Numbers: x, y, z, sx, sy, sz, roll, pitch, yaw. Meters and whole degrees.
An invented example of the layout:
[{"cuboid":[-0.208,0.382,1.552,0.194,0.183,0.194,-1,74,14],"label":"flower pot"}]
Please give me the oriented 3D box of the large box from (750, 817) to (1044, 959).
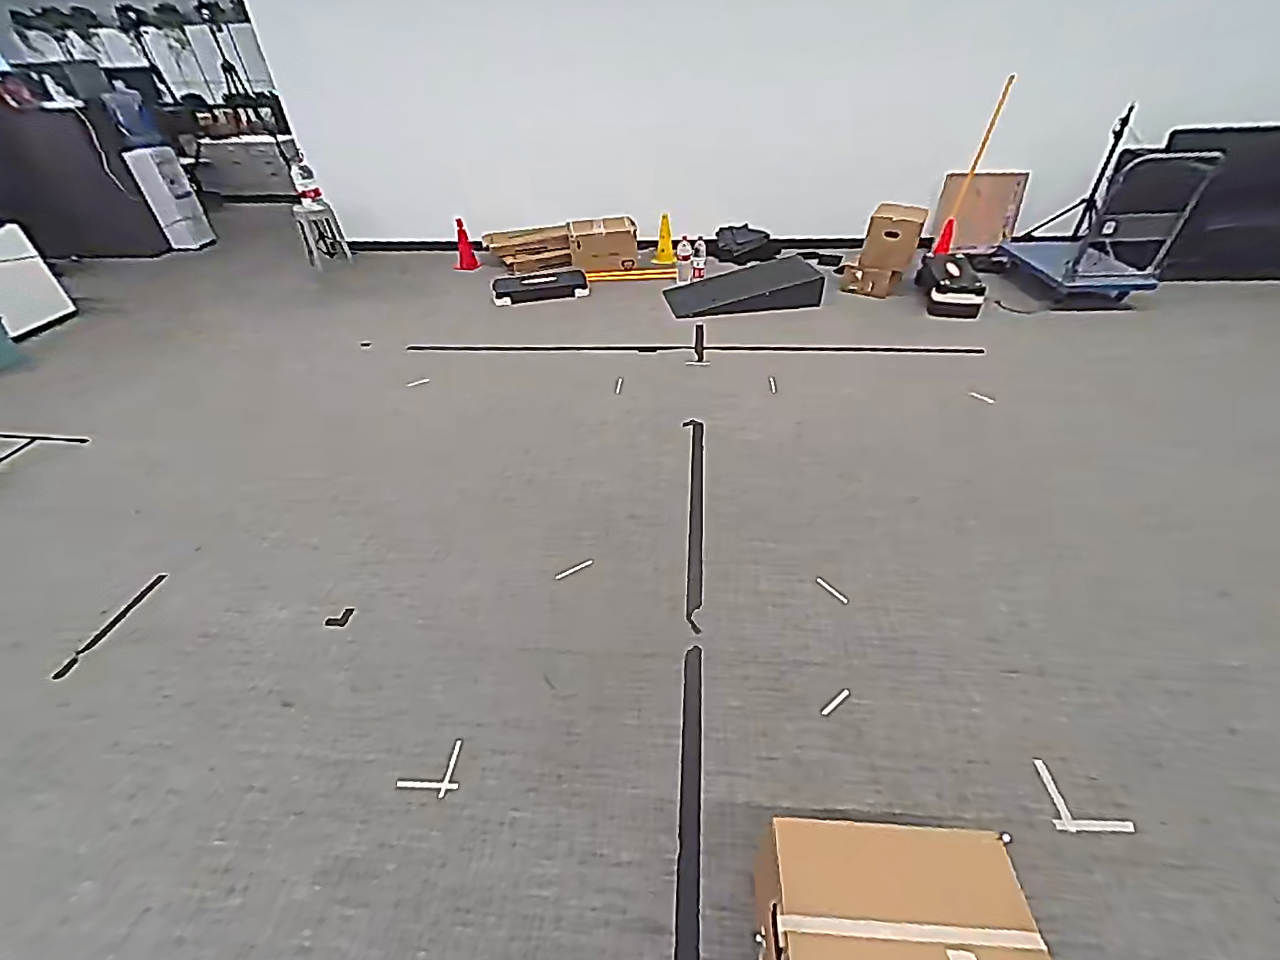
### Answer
[{"cuboid":[0.428,0.837,0.958,0.408,0.320,0.320,2,39,3],"label":"large box"}]
